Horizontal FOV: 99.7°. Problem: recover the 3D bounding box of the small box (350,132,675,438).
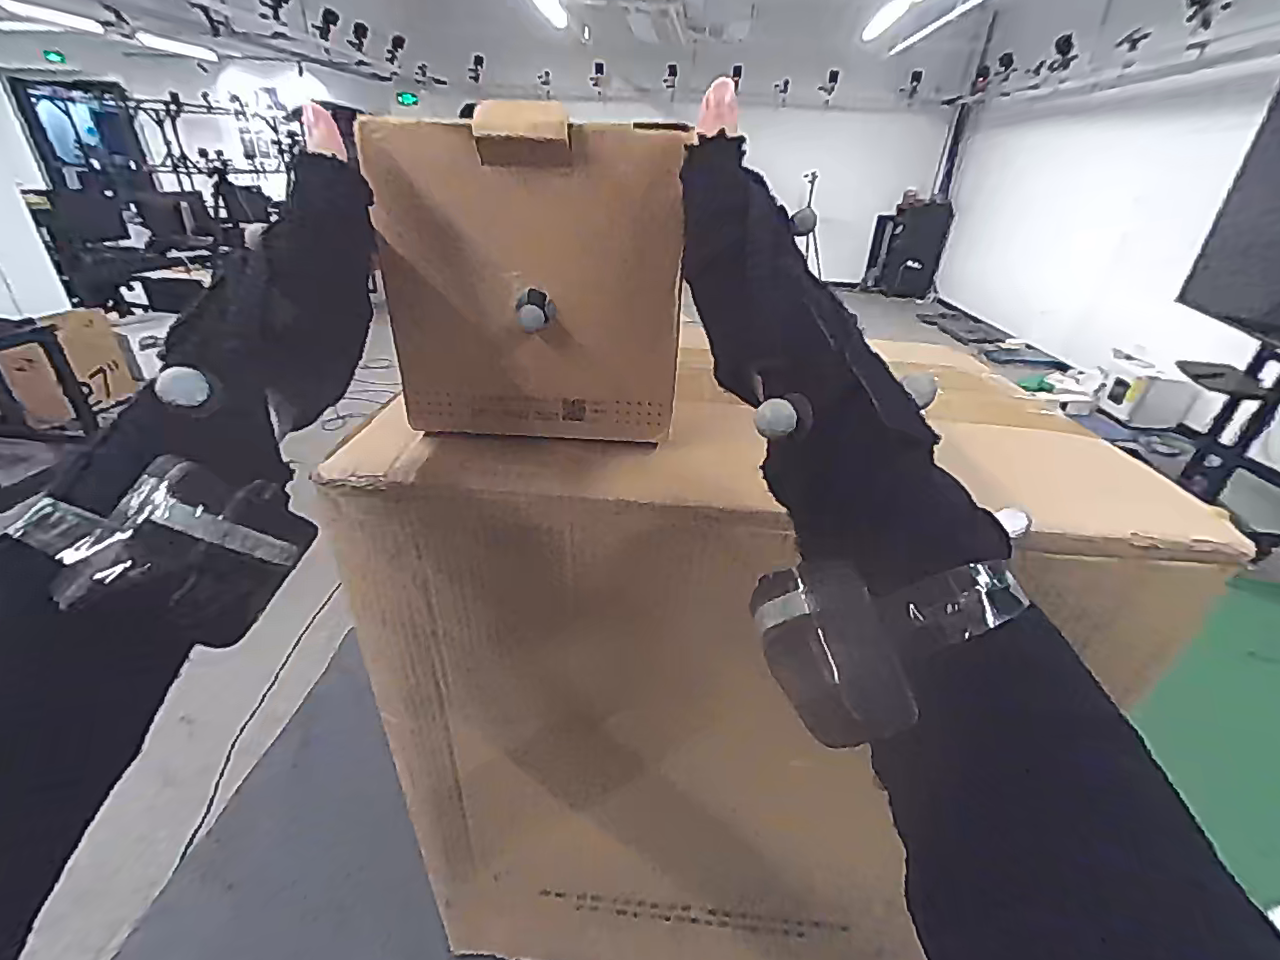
[{"bbox_3d":[-0.060,-0.138,0.375,0.168,0.176,0.179,2,30,1],"label":"small box"}]
